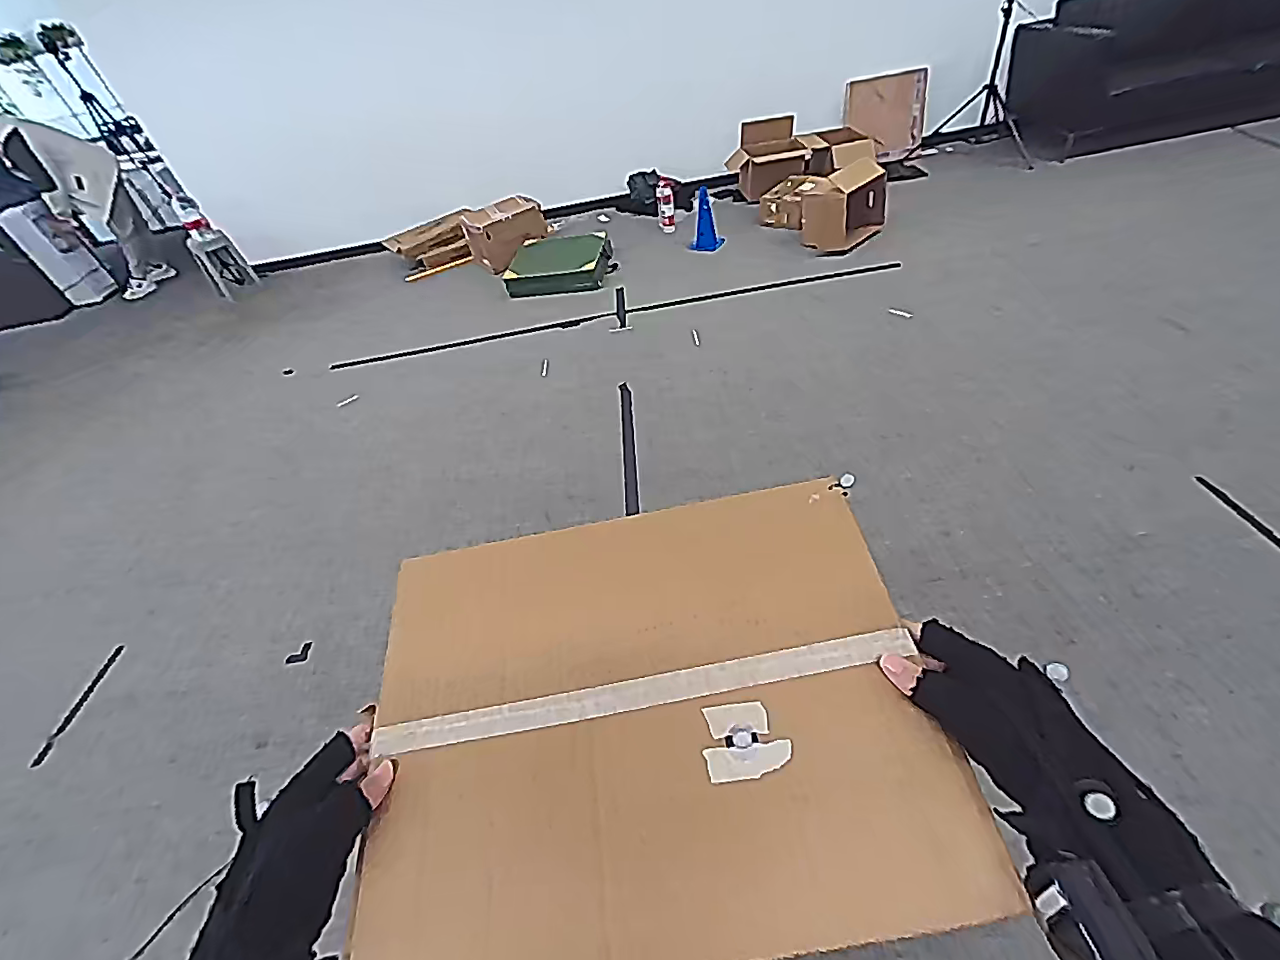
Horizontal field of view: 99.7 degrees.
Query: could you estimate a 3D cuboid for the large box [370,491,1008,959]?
[{"bbox_3d":[0.024,0.257,0.530,0.408,0.320,0.320,-11,53,1],"label":"large box"}]
